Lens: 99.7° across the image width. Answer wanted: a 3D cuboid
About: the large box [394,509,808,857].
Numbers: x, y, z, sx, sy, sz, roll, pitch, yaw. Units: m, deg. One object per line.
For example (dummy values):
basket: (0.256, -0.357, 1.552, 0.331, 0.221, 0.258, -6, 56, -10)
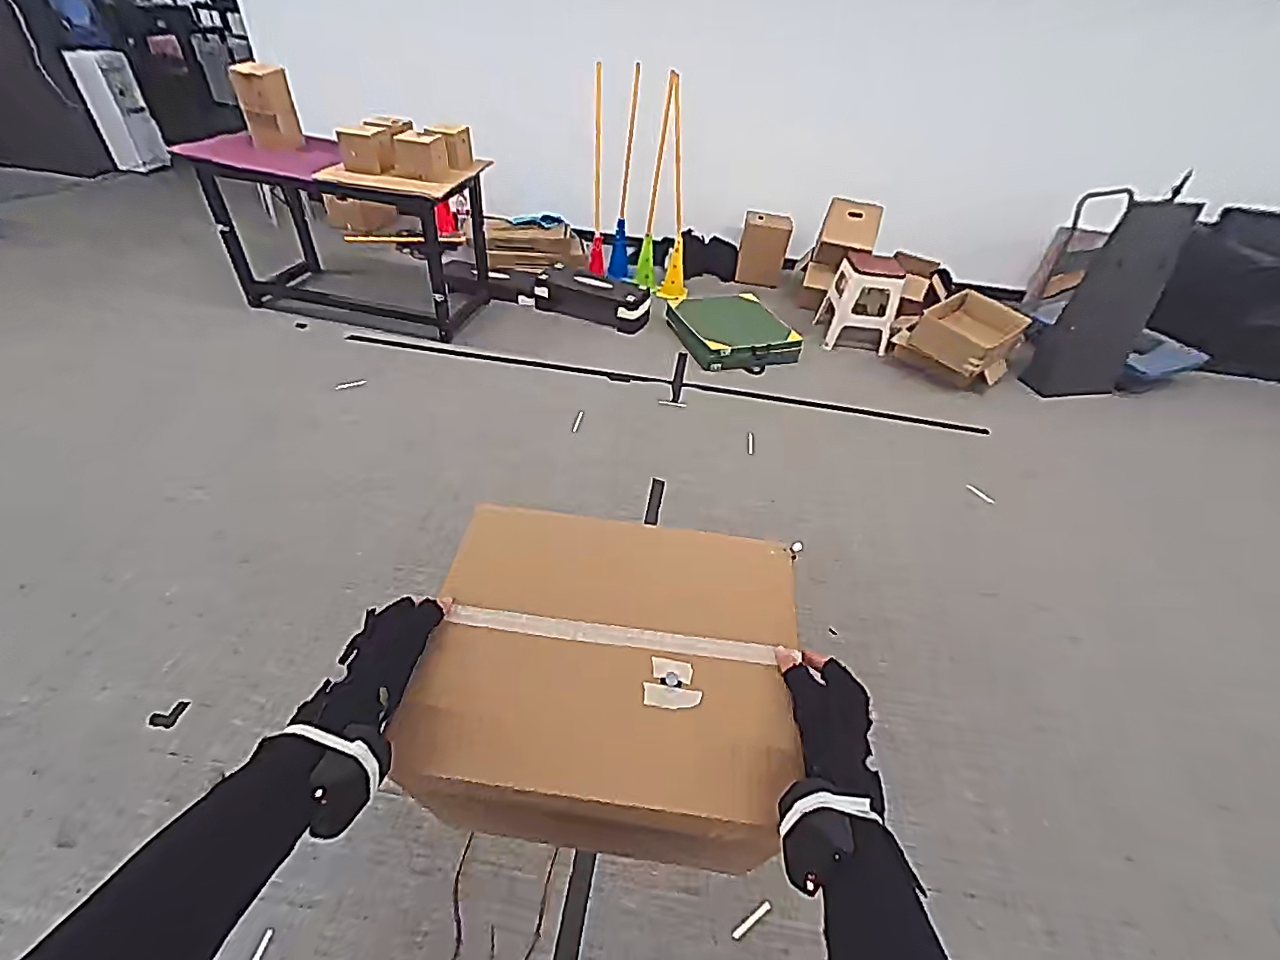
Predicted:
large box: (-0.035, 0.271, 0.715, 0.408, 0.320, 0.320, 7, 49, 2)
